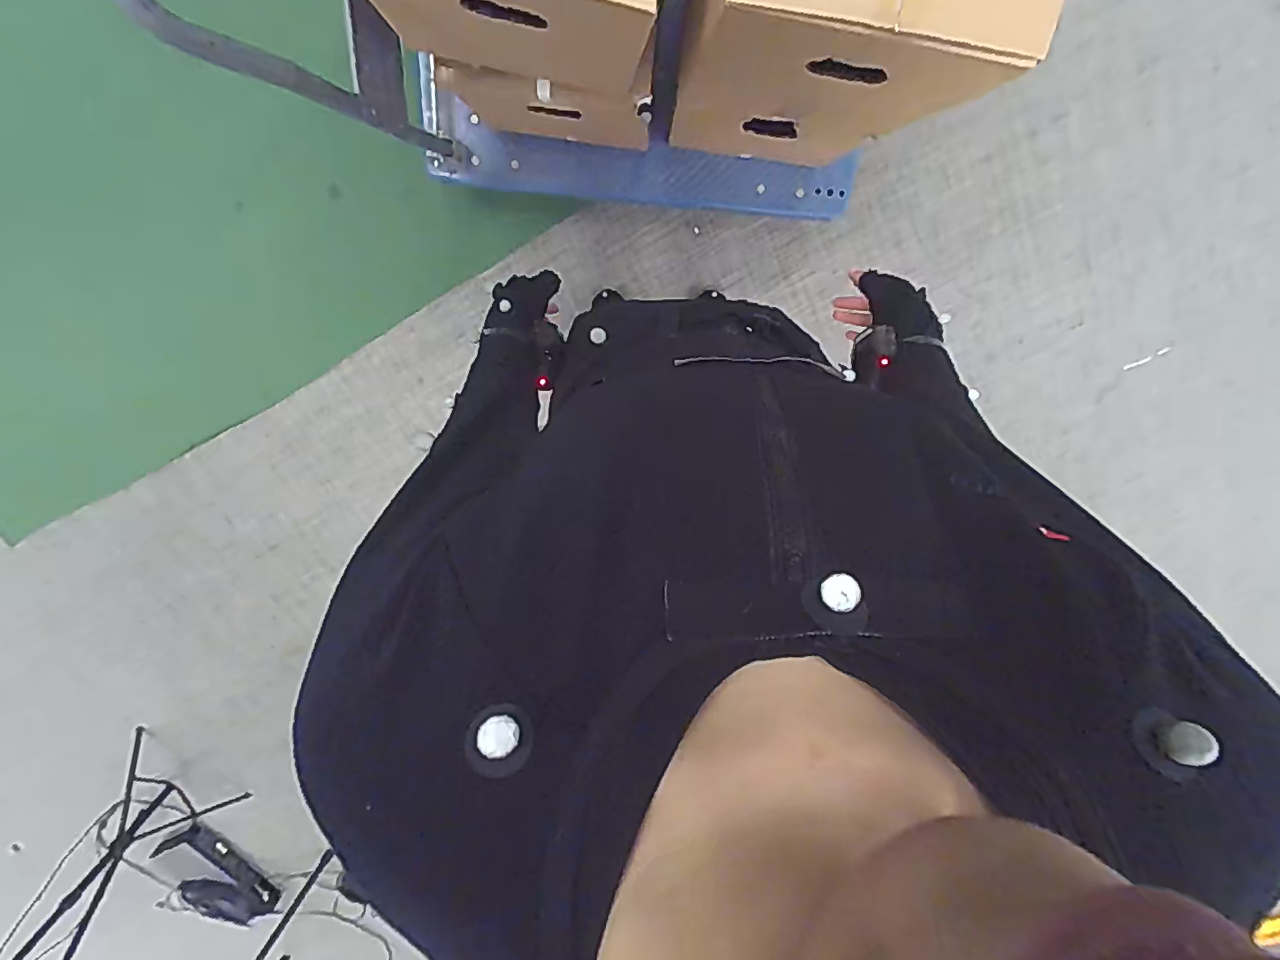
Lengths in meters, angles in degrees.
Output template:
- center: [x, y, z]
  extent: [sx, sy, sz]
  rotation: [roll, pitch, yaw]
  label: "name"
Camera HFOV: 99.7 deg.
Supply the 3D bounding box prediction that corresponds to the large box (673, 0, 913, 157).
- center: [0.231, -0.777, 0.854]
  extent: [0.320, 0.320, 0.408]
  rotation: [7, 114, 0]
  label: "large box"
